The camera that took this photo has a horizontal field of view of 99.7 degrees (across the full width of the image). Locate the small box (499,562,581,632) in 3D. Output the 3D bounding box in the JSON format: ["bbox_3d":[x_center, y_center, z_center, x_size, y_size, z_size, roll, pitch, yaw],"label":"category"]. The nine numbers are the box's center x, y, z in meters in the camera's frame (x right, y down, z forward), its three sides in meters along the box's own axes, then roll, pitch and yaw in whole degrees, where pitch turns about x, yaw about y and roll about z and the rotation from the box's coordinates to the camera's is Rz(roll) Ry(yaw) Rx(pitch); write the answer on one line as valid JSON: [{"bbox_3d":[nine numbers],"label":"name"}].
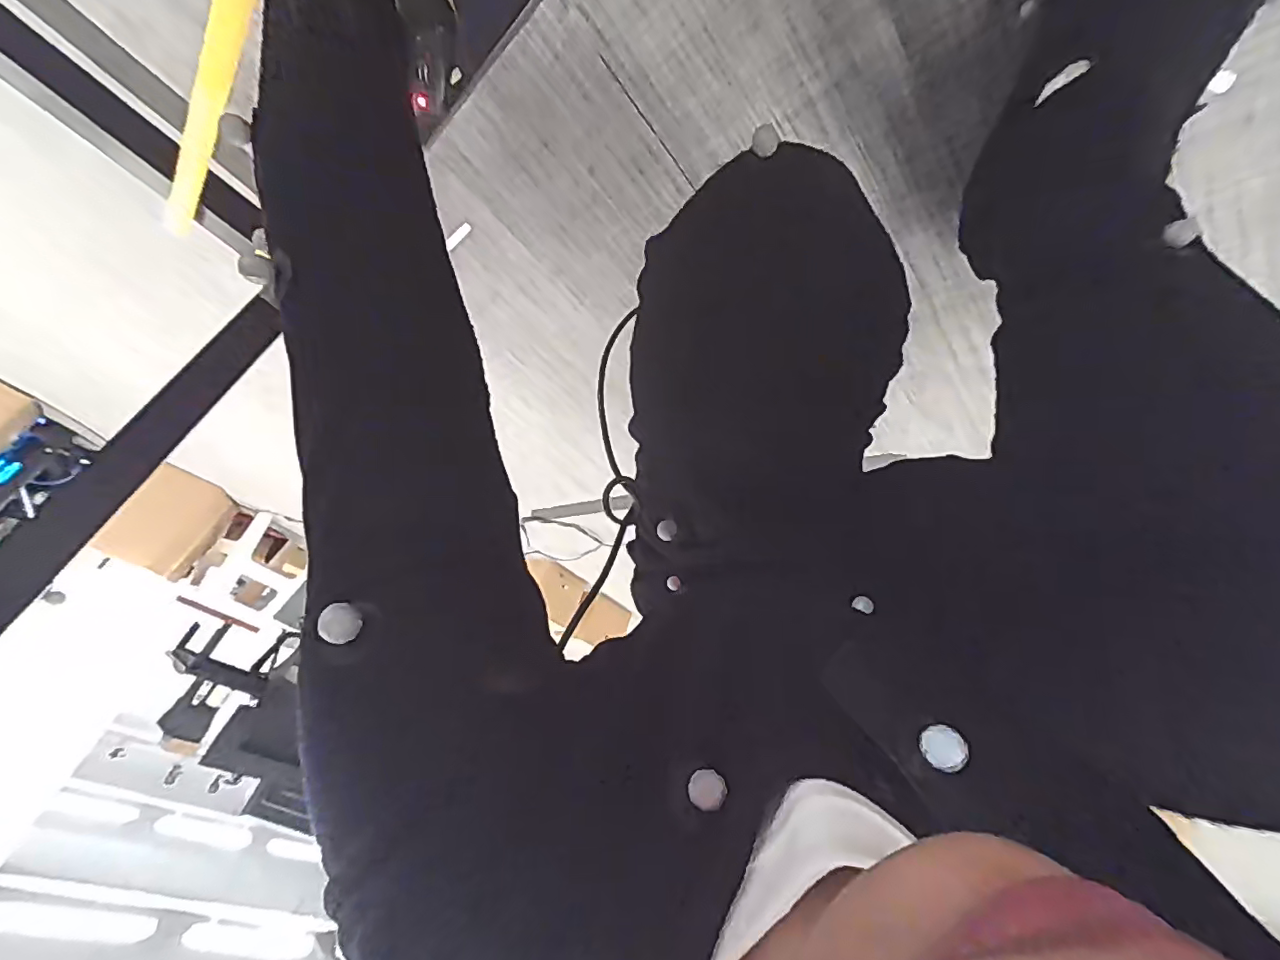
[{"bbox_3d":[-0.323,0.382,1.776,0.179,0.176,0.168,-13,137,44],"label":"small box"}]

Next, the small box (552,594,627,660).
[{"bbox_3d":[-0.171,0.510,1.896,0.168,0.176,0.179,-11,139,43],"label":"small box"}]
